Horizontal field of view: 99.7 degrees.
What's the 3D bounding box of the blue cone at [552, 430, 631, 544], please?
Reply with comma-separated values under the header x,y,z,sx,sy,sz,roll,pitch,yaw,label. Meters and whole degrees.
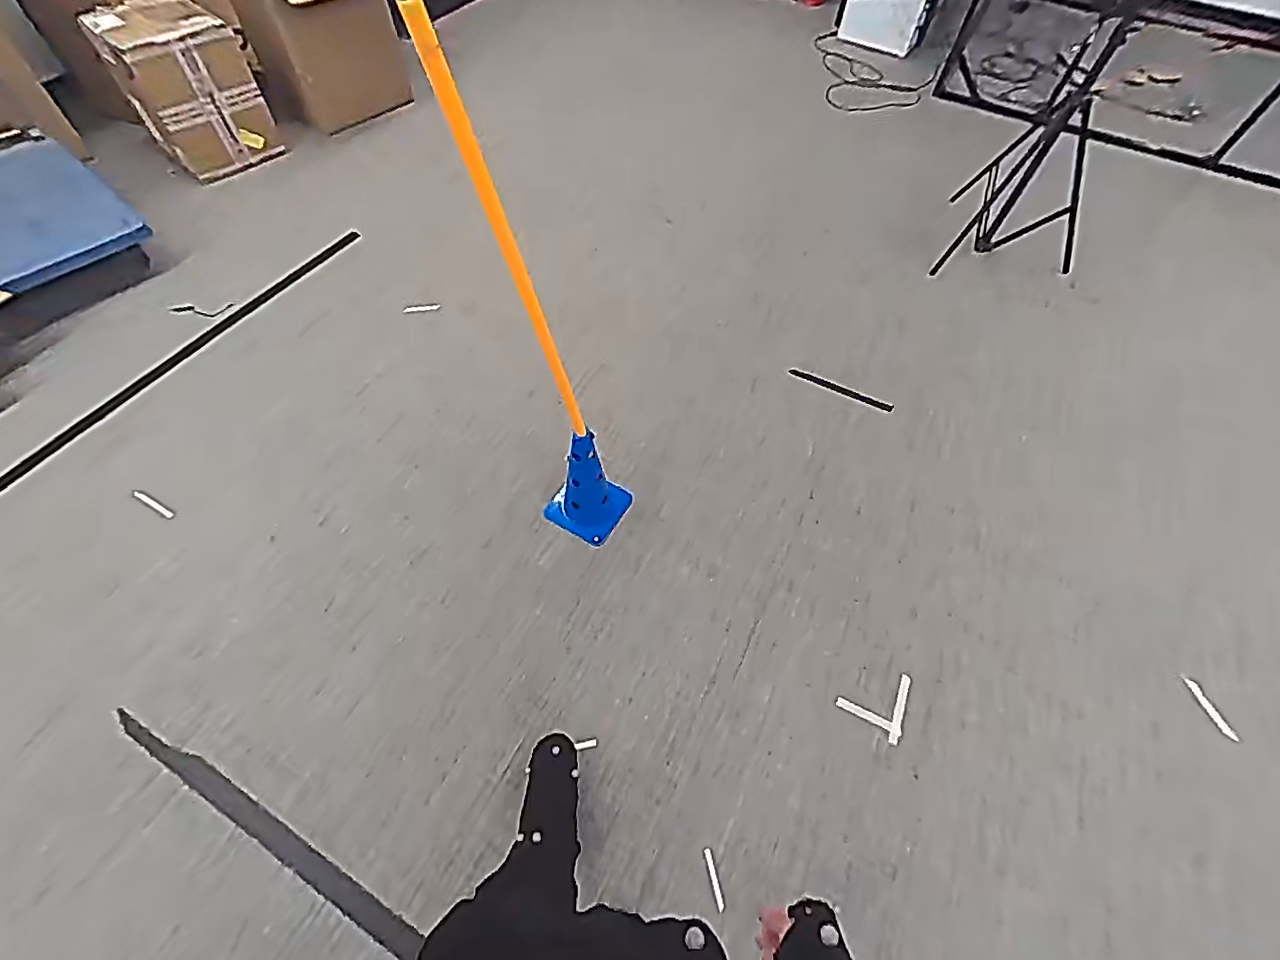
x,y,z,sx,sy,sz,roll,pitch,yaw,label
-0.135,-0.009,1.432,0.192,0.380,0.193,29,61,14,blue cone
